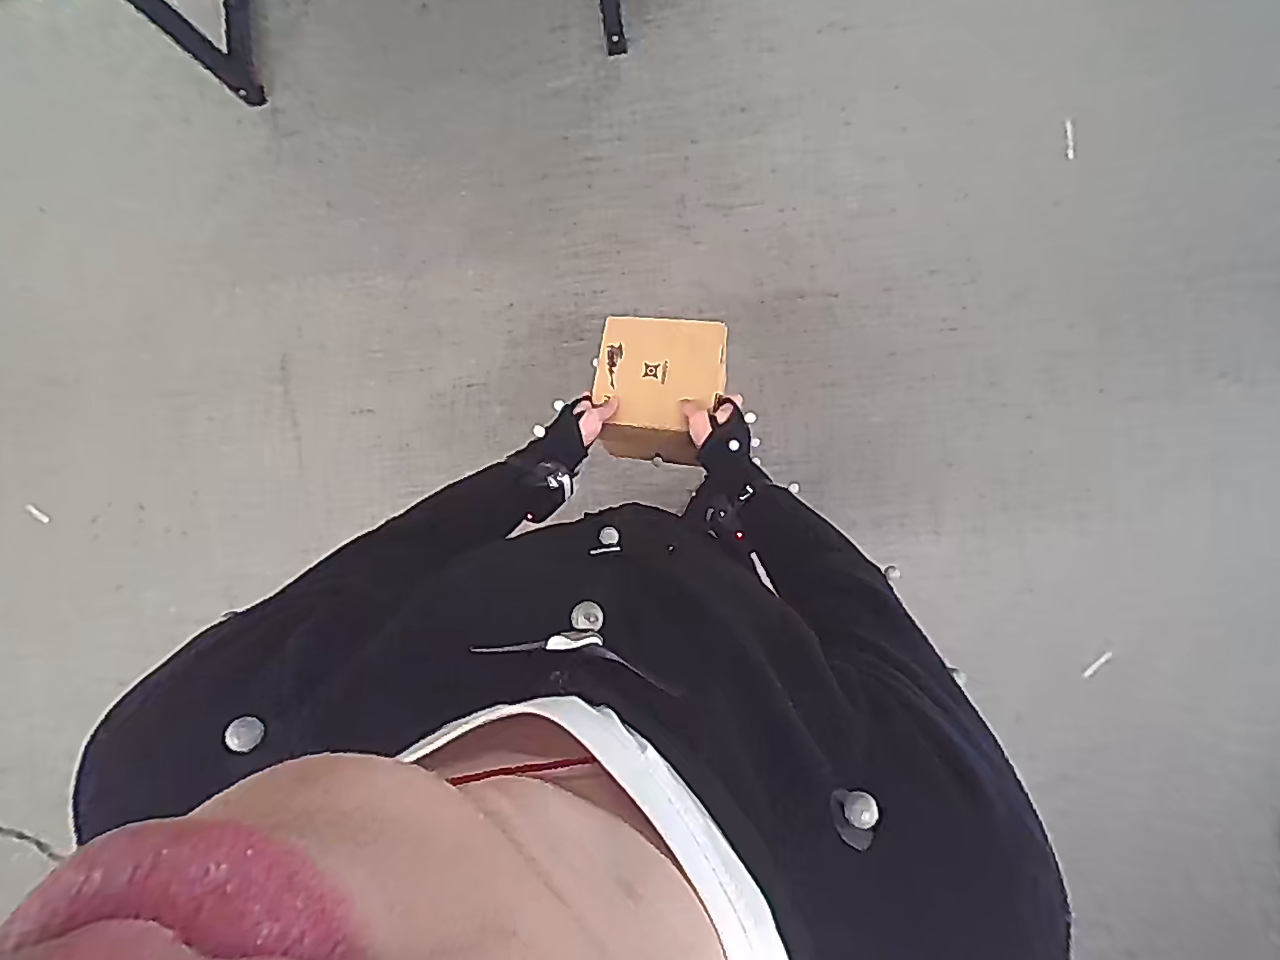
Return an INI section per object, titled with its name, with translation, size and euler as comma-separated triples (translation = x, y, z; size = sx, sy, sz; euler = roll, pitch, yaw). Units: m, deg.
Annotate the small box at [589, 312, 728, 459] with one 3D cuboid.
[small box]
translation = 0.035, -0.136, 0.830
size = 0.179, 0.176, 0.168
euler = 7, 77, 9
